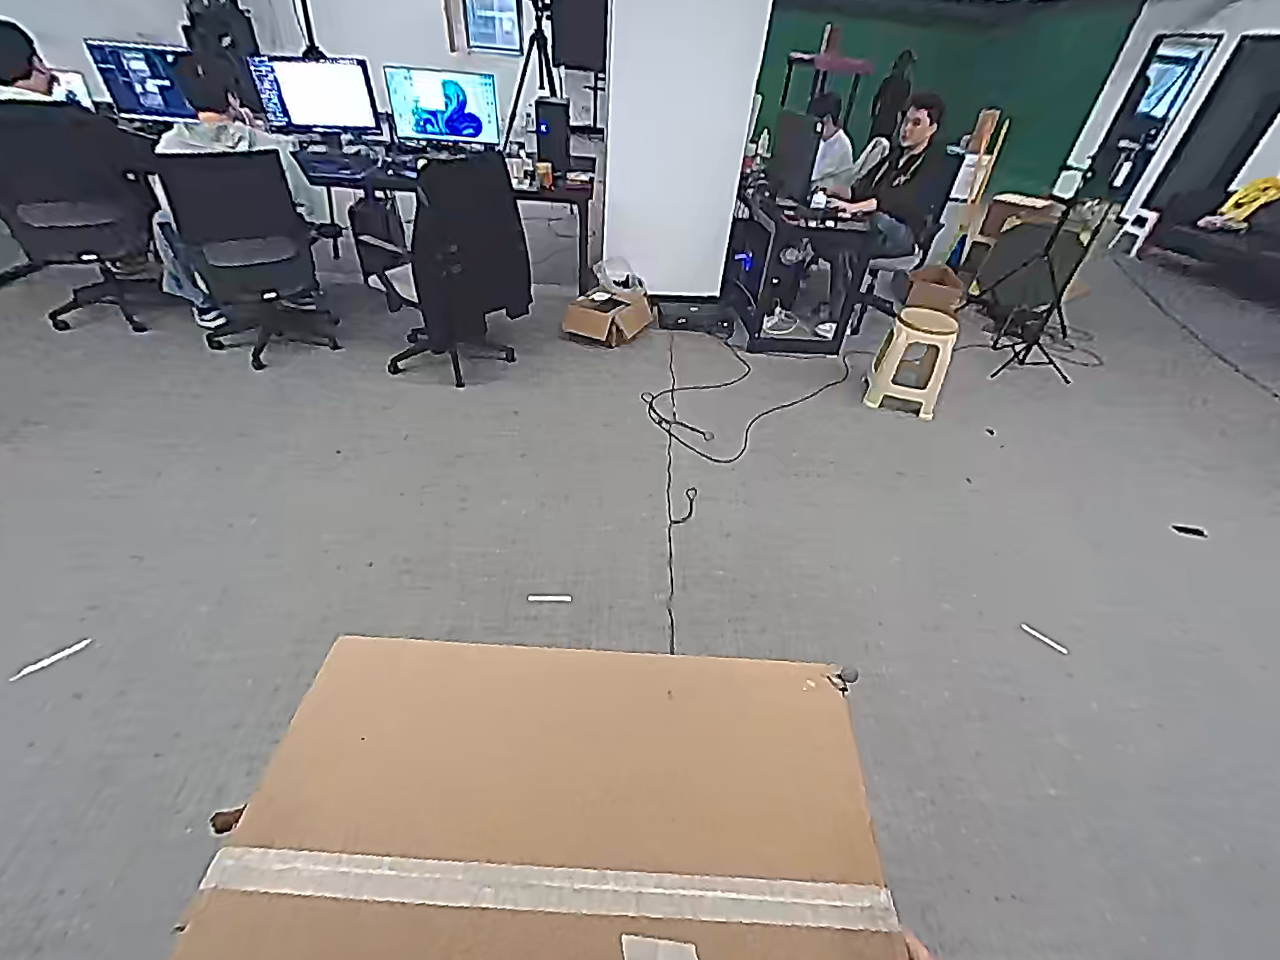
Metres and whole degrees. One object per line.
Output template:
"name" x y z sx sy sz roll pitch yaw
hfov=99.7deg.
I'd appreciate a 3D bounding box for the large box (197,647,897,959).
"large box" -0.054 0.359 0.433 0.408 0.320 0.320 3 44 1
